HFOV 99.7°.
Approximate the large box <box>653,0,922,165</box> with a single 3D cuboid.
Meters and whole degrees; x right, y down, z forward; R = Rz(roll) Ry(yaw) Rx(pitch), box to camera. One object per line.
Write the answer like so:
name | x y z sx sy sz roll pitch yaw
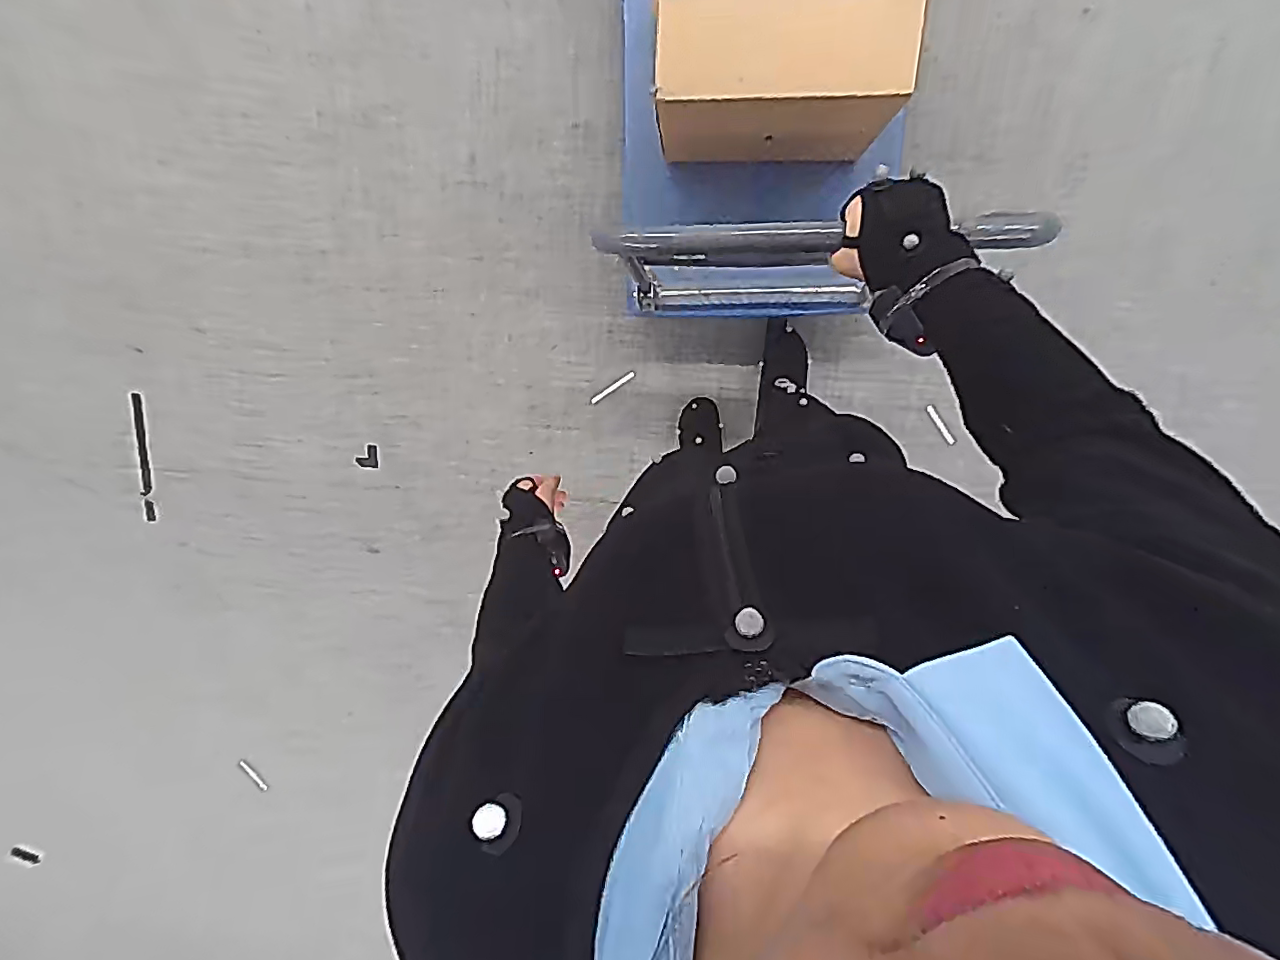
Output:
large box | 0.241 -0.777 0.958 0.408 0.320 0.320 3 103 7
